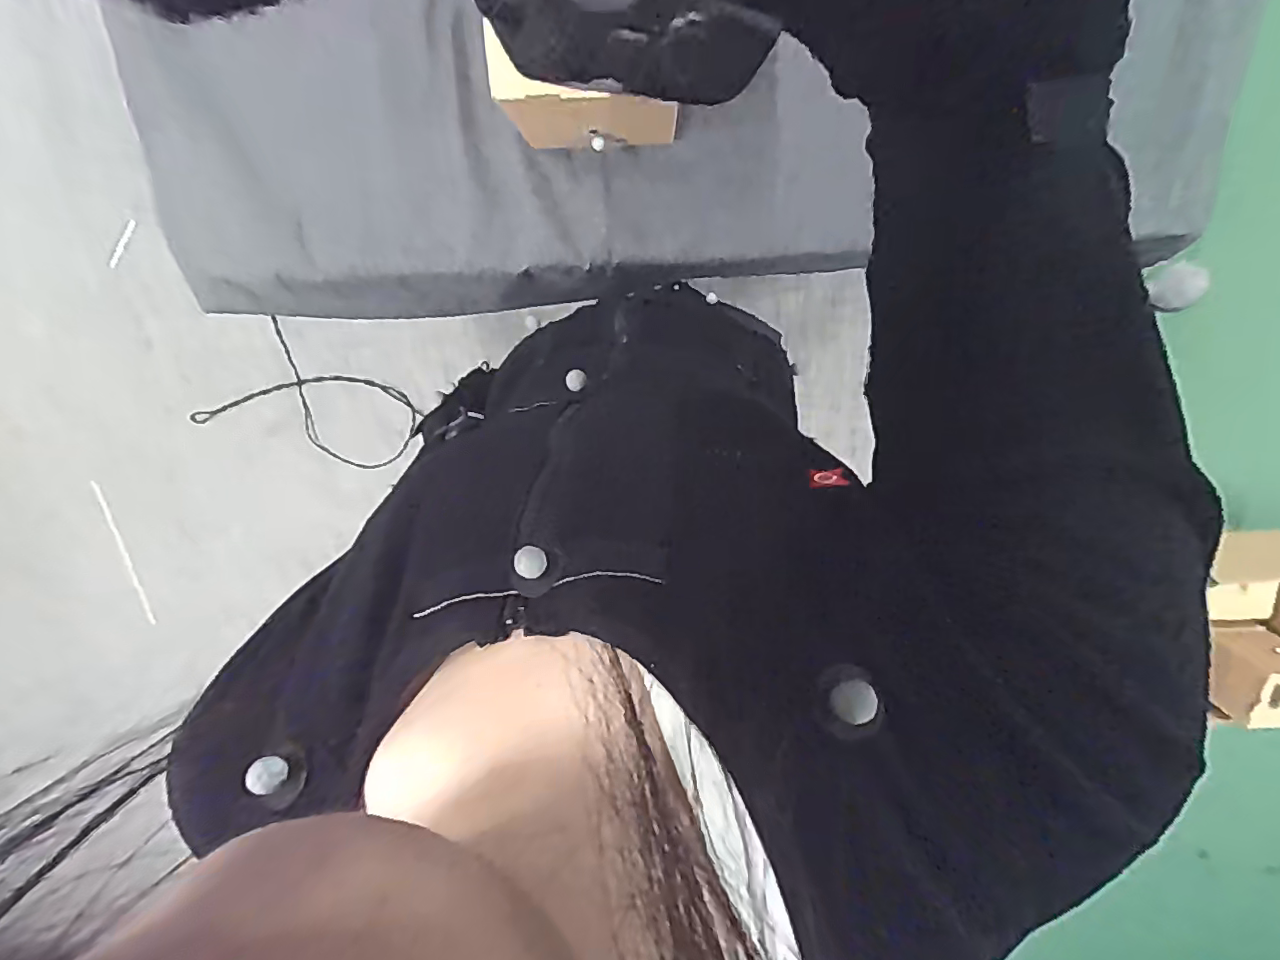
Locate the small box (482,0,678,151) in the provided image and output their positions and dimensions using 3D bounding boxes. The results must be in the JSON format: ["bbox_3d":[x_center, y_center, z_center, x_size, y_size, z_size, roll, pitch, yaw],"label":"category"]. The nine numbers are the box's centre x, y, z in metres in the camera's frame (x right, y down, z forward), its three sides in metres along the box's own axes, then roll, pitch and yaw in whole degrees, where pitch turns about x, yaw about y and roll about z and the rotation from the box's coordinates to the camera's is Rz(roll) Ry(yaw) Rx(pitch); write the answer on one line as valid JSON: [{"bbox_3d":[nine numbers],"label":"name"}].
[{"bbox_3d":[-0.049,-0.438,0.519,0.168,0.176,0.179,-1,109,3],"label":"small box"}]
